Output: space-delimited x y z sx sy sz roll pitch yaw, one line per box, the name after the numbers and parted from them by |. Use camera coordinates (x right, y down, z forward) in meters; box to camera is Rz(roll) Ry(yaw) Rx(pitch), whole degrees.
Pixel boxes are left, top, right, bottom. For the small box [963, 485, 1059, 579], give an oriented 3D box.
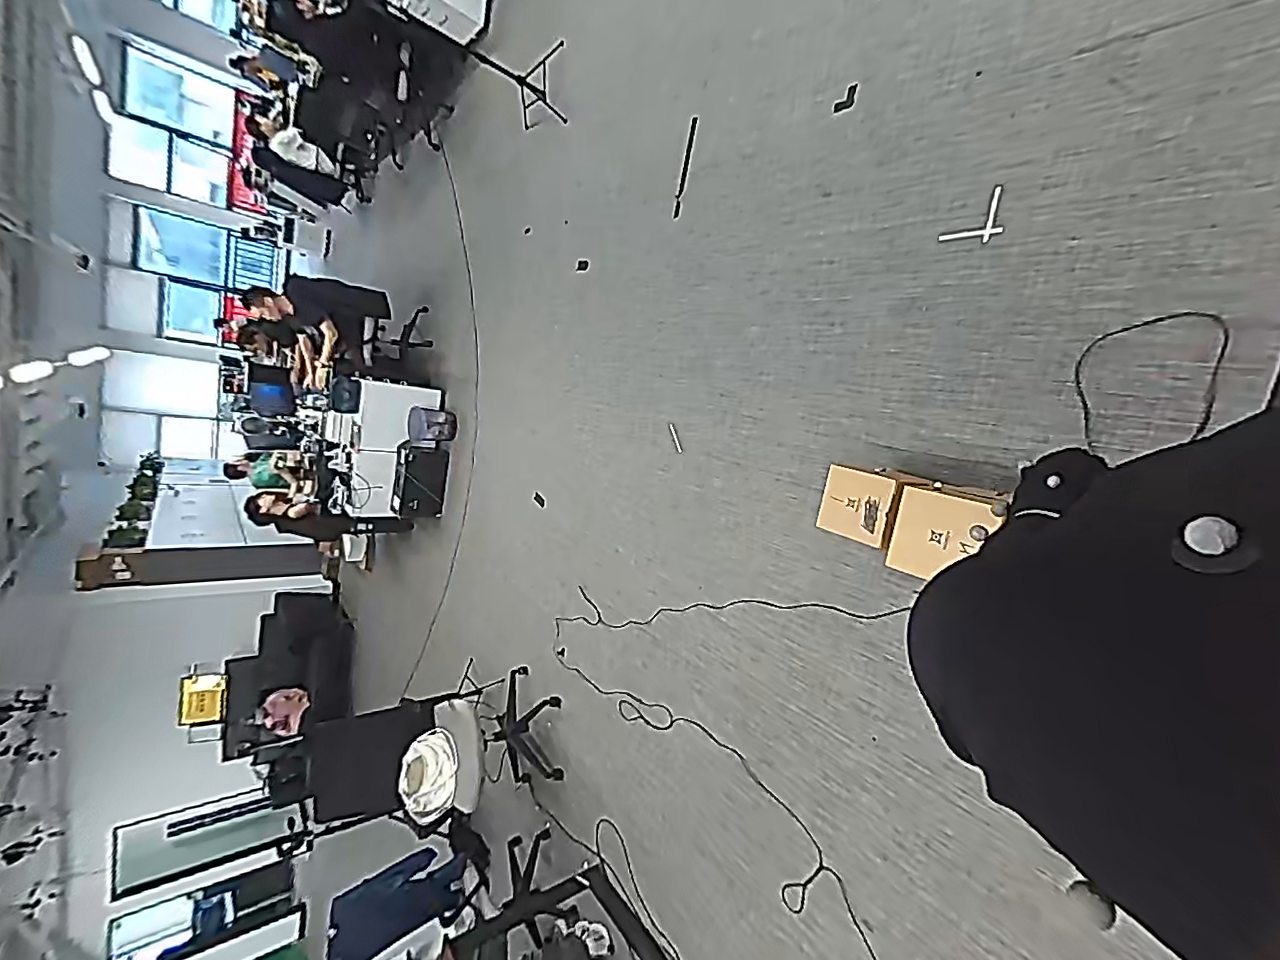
0.851 0.117 1.271 0.168 0.176 0.179 20 102 47 | small box

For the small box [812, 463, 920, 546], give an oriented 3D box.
0.568 0.057 1.352 0.179 0.176 0.168 22 105 49 | small box

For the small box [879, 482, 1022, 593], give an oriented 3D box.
0.604 0.107 1.052 0.179 0.176 0.168 20 103 46 | small box

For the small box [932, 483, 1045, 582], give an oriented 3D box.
0.729 0.107 1.162 0.179 0.176 0.168 19 103 48 | small box
